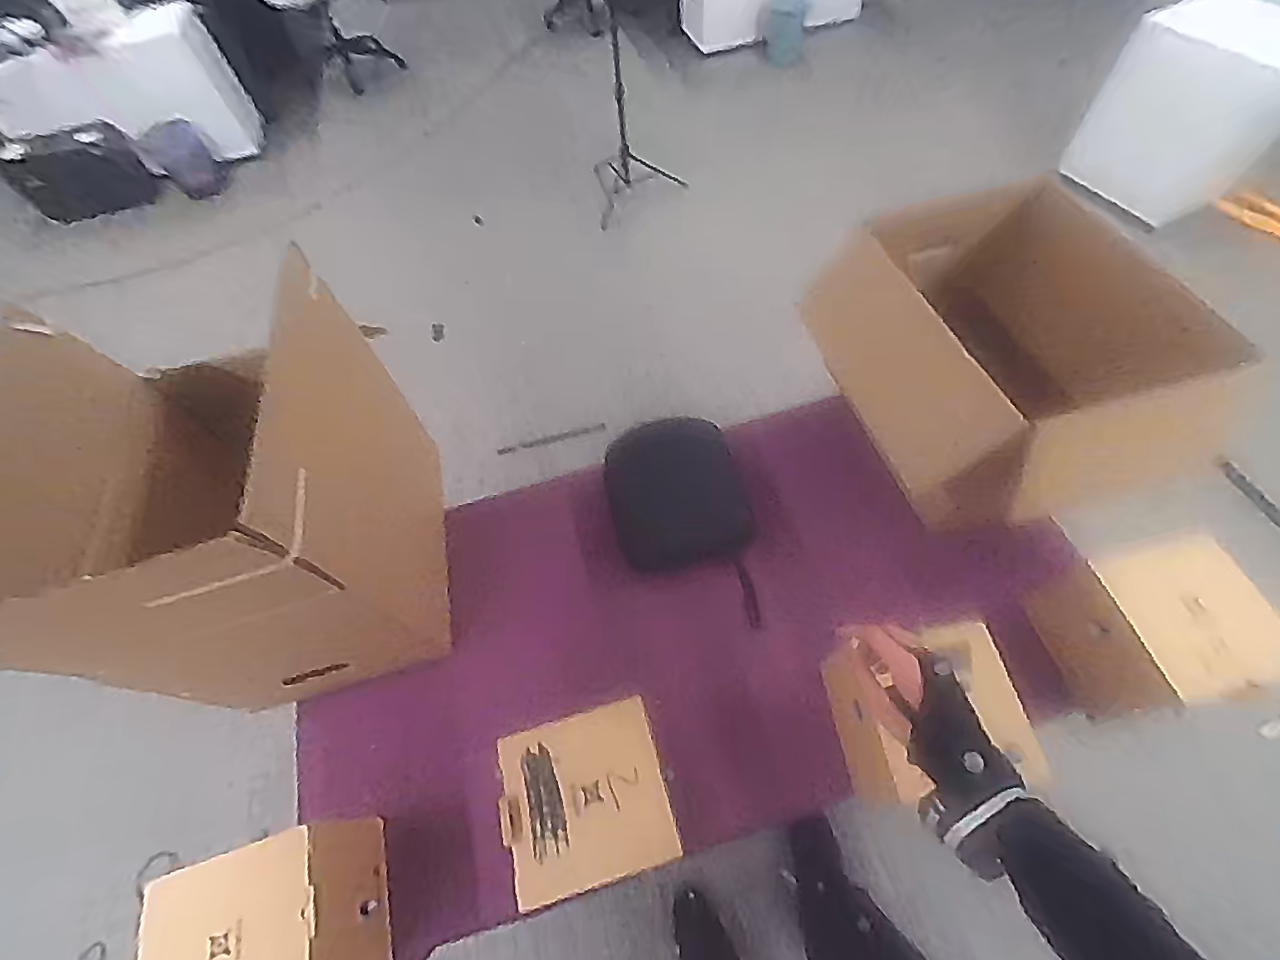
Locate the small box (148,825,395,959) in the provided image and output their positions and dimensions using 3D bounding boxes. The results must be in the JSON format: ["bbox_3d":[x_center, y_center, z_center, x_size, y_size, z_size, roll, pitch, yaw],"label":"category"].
[{"bbox_3d":[-0.408,0.517,0.617,0.179,0.176,0.168,-18,59,-7],"label":"small box"}]

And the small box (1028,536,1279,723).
[{"bbox_3d":[0.662,0.199,0.704,0.168,0.176,0.179,-12,59,-1],"label":"small box"}]
